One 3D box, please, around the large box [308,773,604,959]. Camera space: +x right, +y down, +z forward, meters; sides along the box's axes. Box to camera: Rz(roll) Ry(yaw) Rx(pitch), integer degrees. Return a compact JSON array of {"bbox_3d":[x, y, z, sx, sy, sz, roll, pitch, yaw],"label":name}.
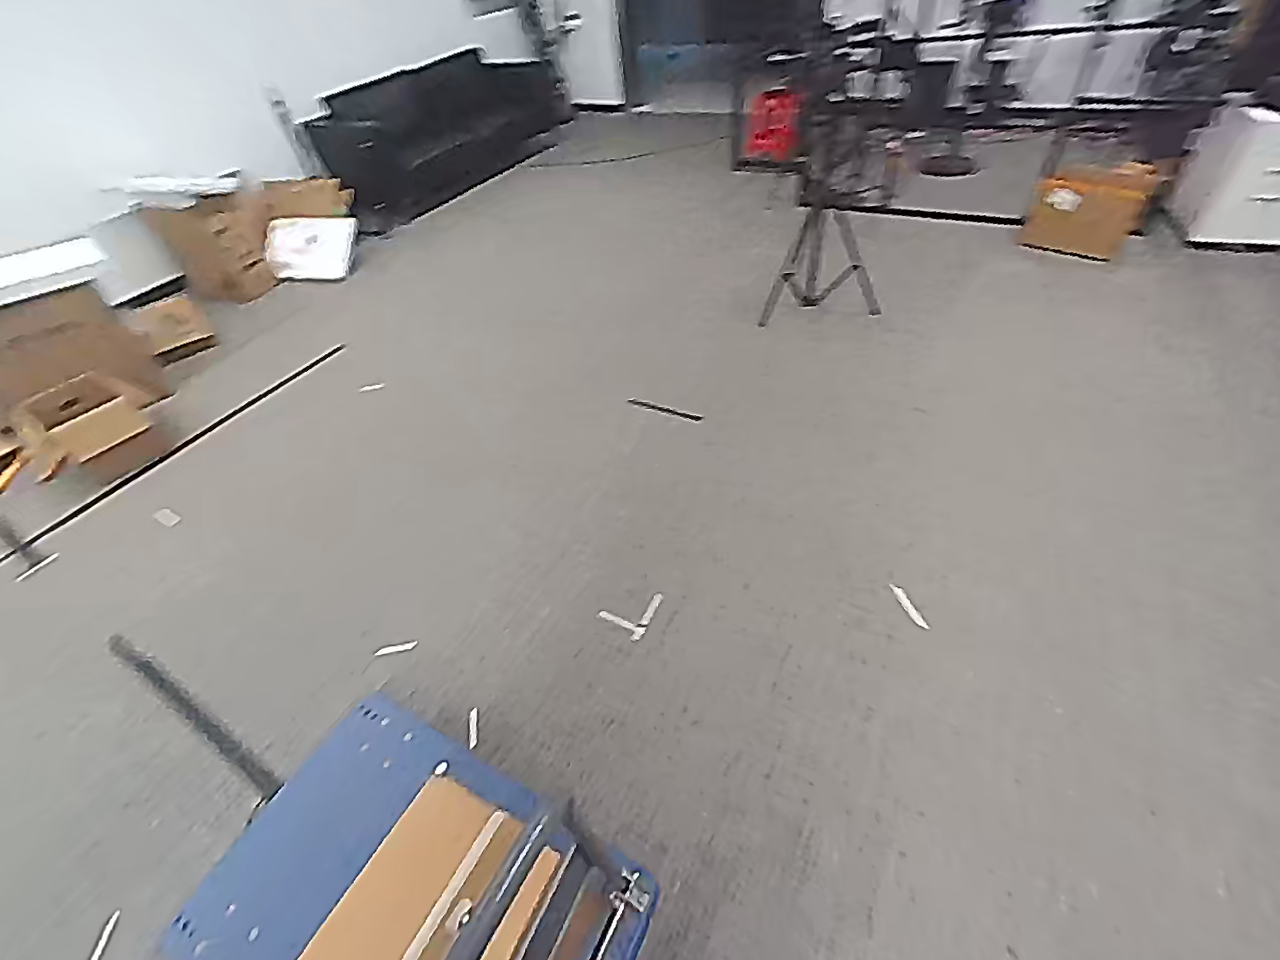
[{"bbox_3d":[-0.308,0.811,0.914,0.320,0.320,0.408,19,50,24],"label":"large box"}]
